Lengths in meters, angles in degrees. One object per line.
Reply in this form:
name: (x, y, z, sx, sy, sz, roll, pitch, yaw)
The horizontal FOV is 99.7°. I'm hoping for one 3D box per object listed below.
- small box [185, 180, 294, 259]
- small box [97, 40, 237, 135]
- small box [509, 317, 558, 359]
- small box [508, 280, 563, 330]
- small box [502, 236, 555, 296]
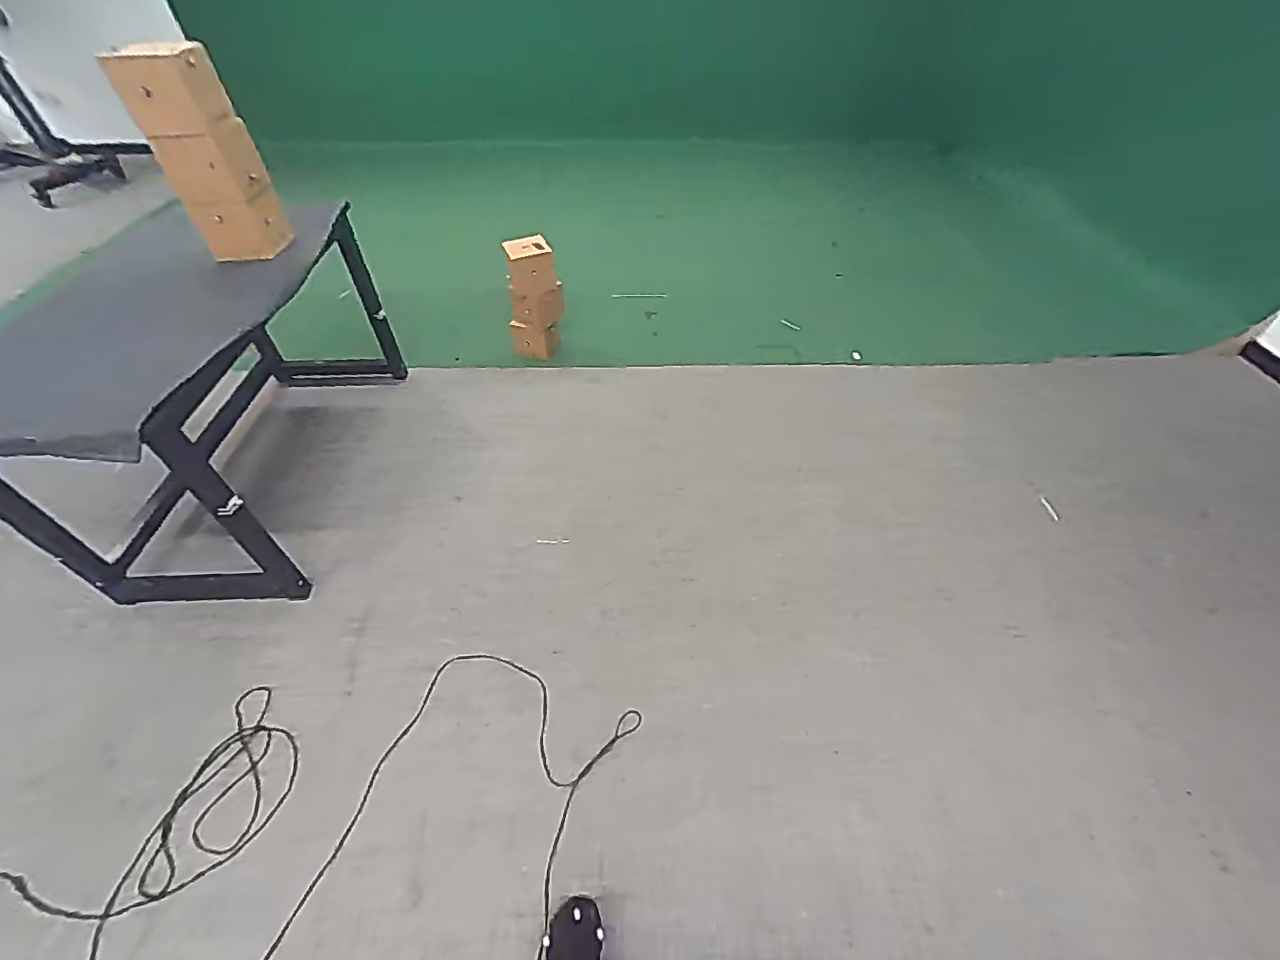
small box: (-1.190, -0.781, 1.627, 0.179, 0.176, 0.168, -2, 48, 0)
small box: (-1.194, -1.001, 1.383, 0.179, 0.176, 0.168, -4, 48, -2)
small box: (-0.492, -0.689, 2.538, 0.168, 0.176, 0.179, 12, 48, 10)
small box: (-0.460, -0.795, 2.415, 0.168, 0.176, 0.179, 29, 53, 22)
small box: (-0.468, -0.906, 2.293, 0.179, 0.176, 0.168, -18, 51, -15)
